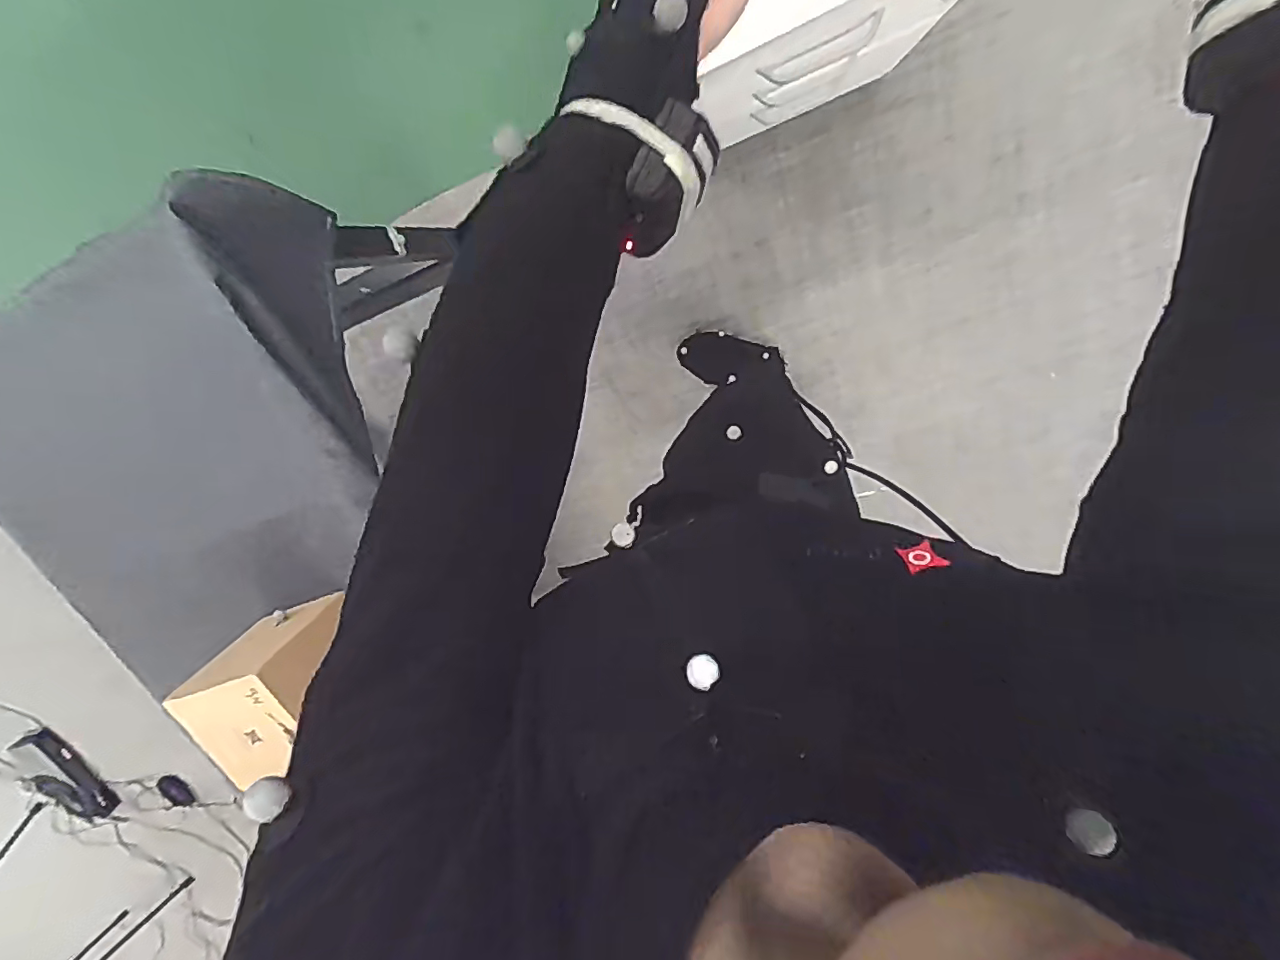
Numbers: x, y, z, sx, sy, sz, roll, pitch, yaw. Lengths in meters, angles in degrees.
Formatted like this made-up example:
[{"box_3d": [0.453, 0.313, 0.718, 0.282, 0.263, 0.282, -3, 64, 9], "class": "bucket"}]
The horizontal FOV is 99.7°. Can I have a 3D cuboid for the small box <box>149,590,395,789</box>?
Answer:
[{"box_3d": [-0.476, 0.276, 0.728, 0.179, 0.176, 0.168, -19, 110, 18], "class": "small box"}]
